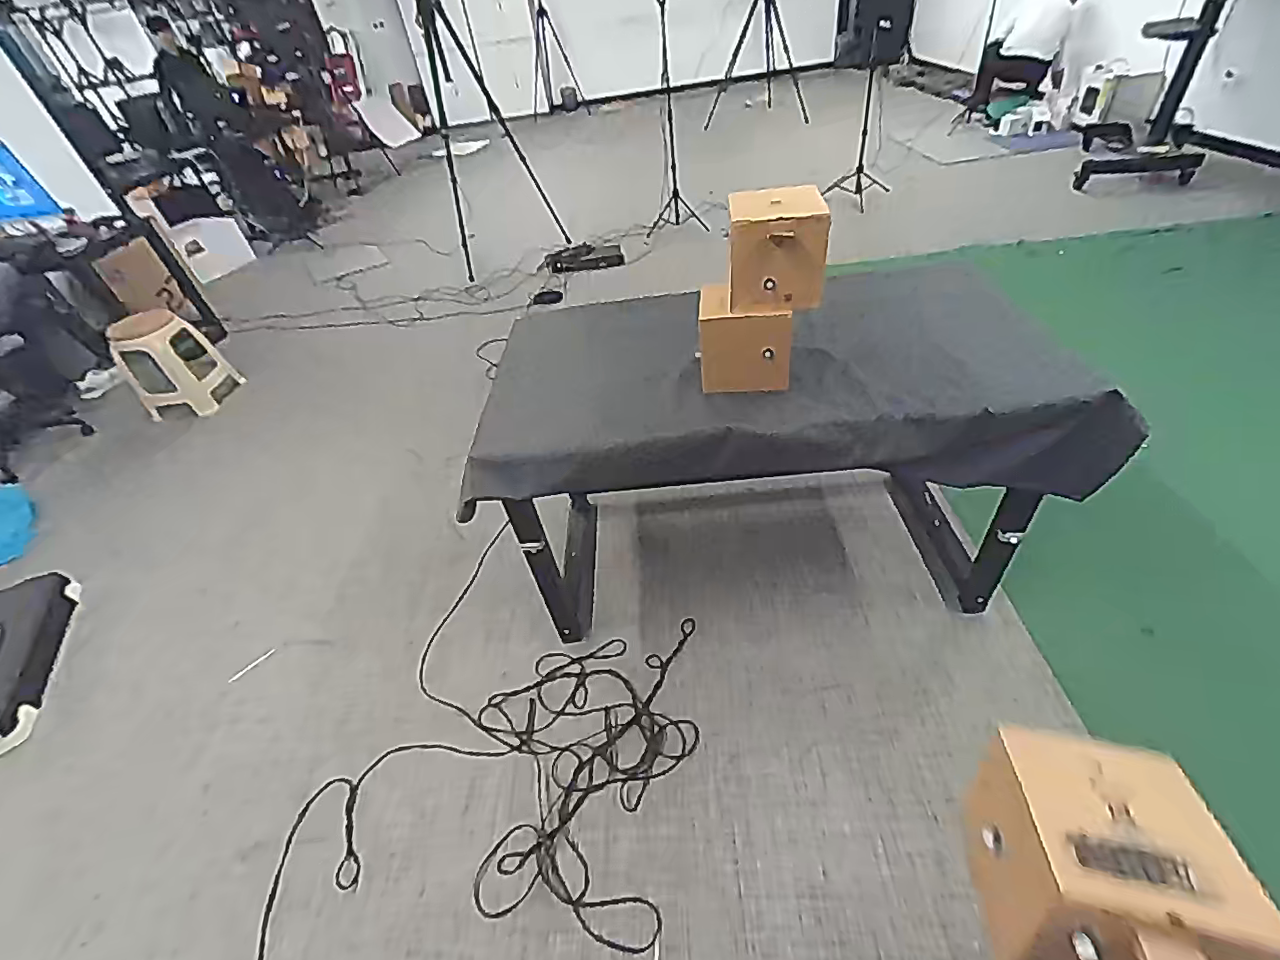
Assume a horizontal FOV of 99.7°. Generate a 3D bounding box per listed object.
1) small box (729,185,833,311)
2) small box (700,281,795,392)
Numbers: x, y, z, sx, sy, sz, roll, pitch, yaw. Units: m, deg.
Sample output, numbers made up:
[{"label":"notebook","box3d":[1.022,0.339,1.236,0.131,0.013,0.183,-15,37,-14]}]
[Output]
[{"label":"small box","box3d":[0.253,-0.433,1.014,0.168,0.176,0.179,-1,43,8]},{"label":"small box","box3d":[0.217,-0.294,1.111,0.179,0.176,0.168,-1,42,10]}]
